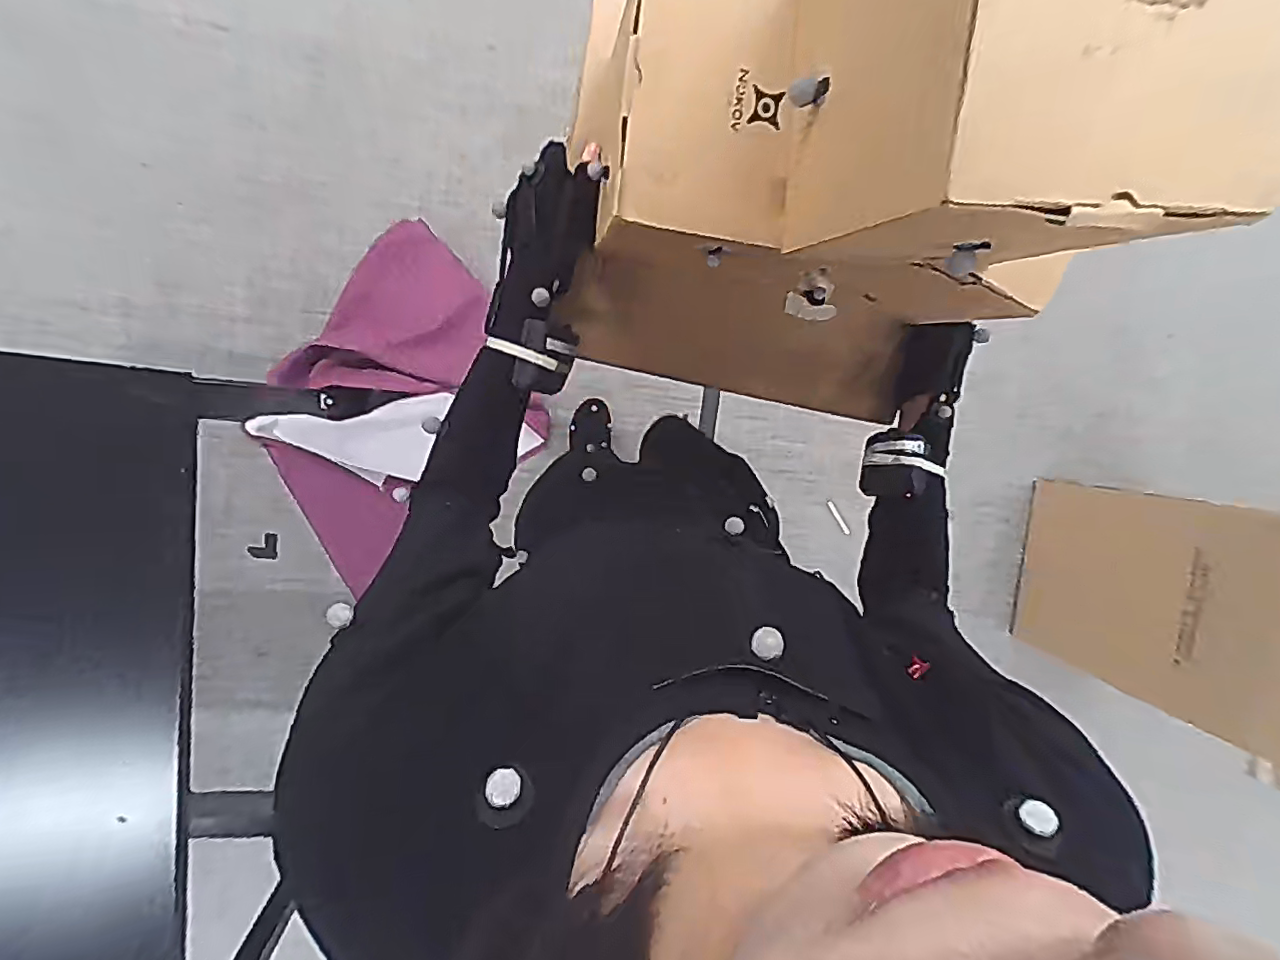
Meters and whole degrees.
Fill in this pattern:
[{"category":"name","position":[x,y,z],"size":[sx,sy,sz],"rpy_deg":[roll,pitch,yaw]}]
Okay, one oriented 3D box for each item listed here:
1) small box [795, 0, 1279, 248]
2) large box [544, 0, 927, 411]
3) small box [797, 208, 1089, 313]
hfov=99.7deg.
[{"category":"small box","position":[0.196,-0.227,0.285],"size":[0.168,0.176,0.179],"rpy_deg":[-2,106,-9]},{"category":"large box","position":[0.101,-0.286,0.679],"size":[0.408,0.320,0.320],"rpy_deg":[9,103,-13]},{"category":"small box","position":[0.259,-0.257,0.458],"size":[0.168,0.176,0.179],"rpy_deg":[23,98,-14]}]
